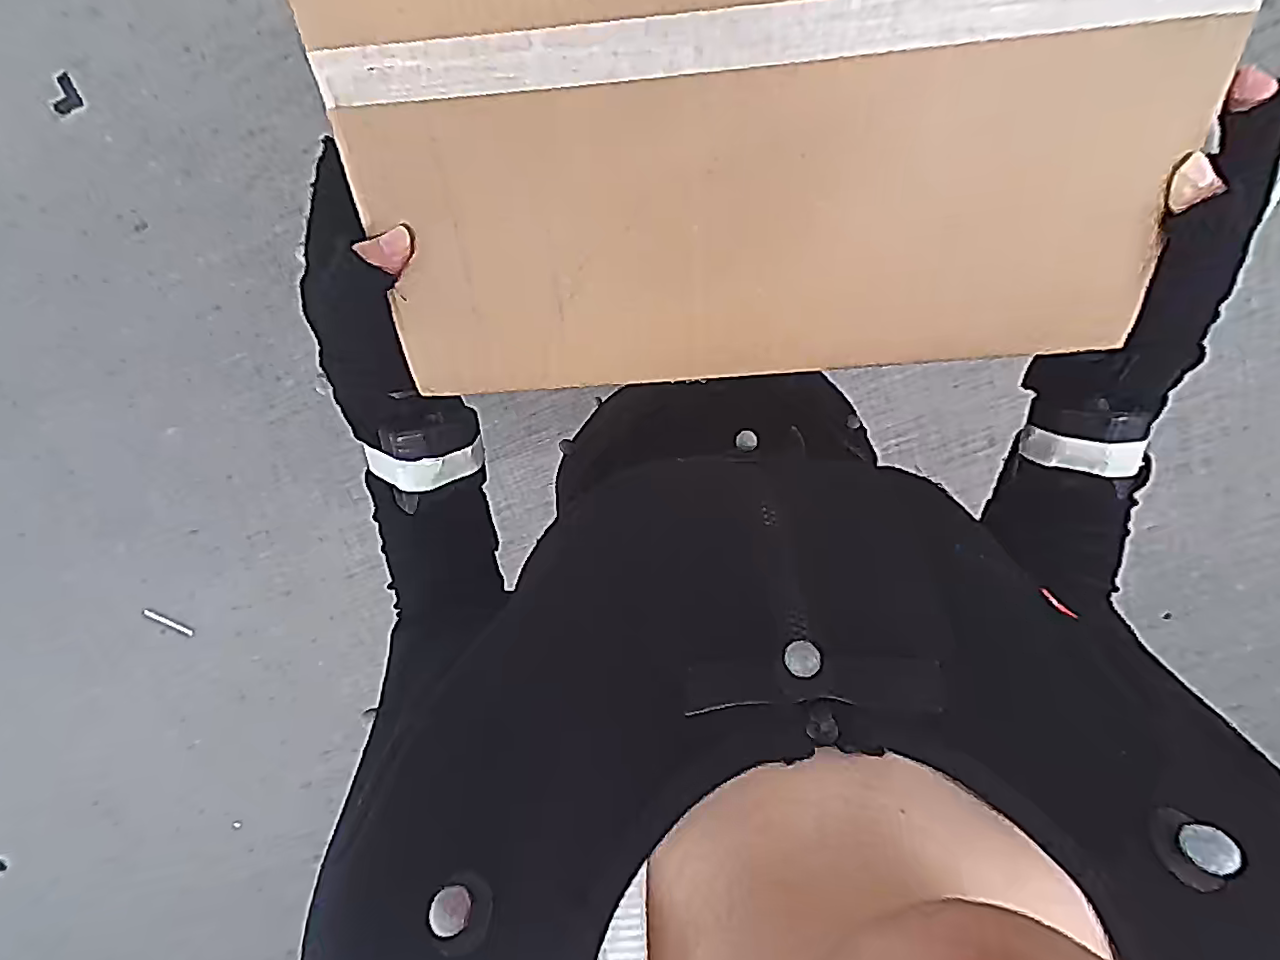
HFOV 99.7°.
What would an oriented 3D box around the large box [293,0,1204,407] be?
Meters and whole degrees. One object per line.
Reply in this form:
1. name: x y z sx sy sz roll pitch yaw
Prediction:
1. large box: 0.051 -0.271 0.372 0.408 0.320 0.320 -4 121 3
